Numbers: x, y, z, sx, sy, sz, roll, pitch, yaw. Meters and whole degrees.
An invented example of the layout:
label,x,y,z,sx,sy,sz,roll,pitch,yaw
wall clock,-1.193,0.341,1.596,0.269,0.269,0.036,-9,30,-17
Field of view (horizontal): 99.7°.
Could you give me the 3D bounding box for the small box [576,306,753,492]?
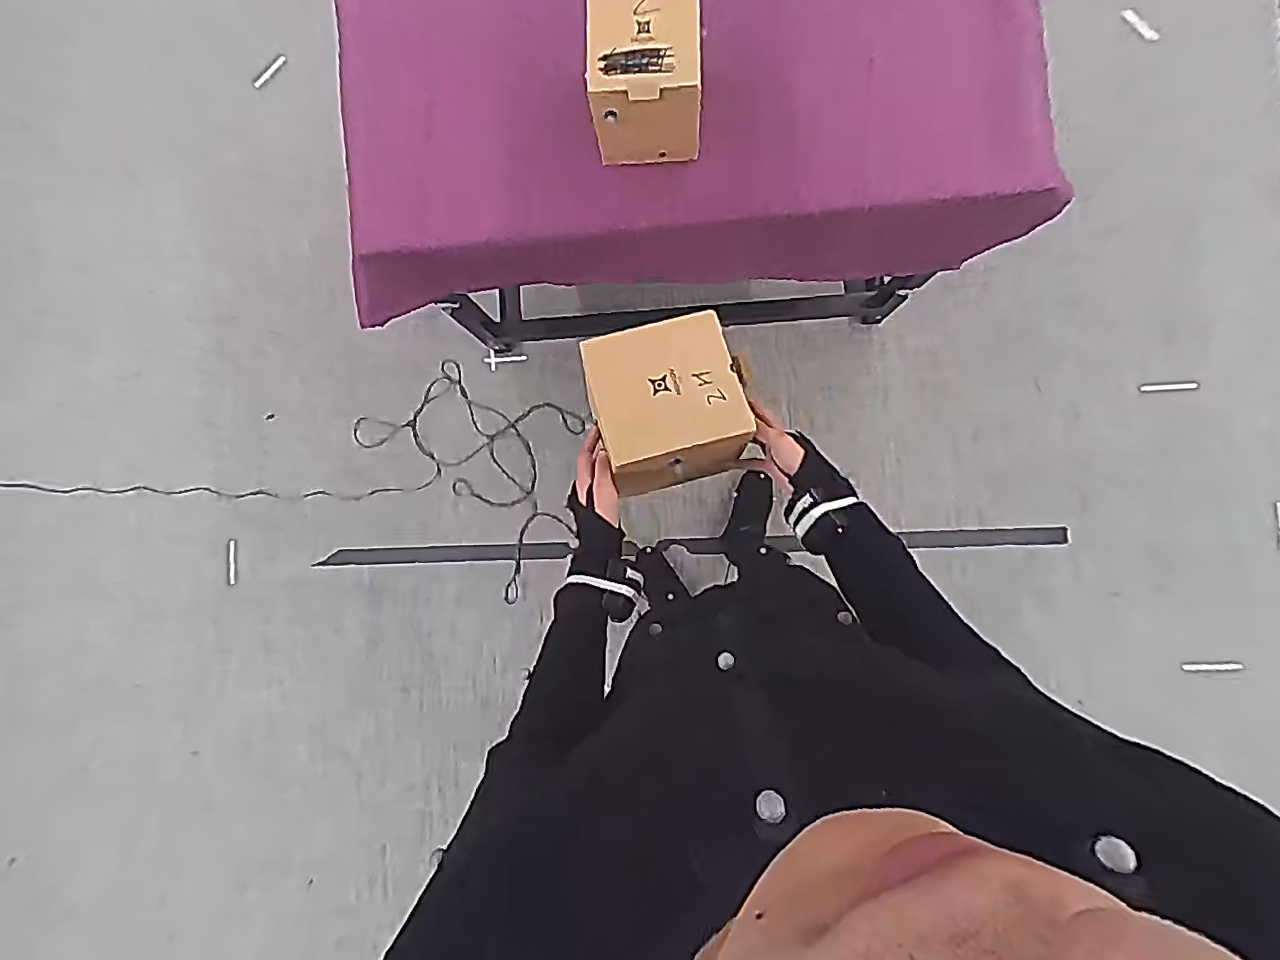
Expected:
label,x,y,z,sx,sy,sz,roll,pitch,yaw
small box,0.027,-0.096,0.713,0.179,0.176,0.168,-15,76,-6
